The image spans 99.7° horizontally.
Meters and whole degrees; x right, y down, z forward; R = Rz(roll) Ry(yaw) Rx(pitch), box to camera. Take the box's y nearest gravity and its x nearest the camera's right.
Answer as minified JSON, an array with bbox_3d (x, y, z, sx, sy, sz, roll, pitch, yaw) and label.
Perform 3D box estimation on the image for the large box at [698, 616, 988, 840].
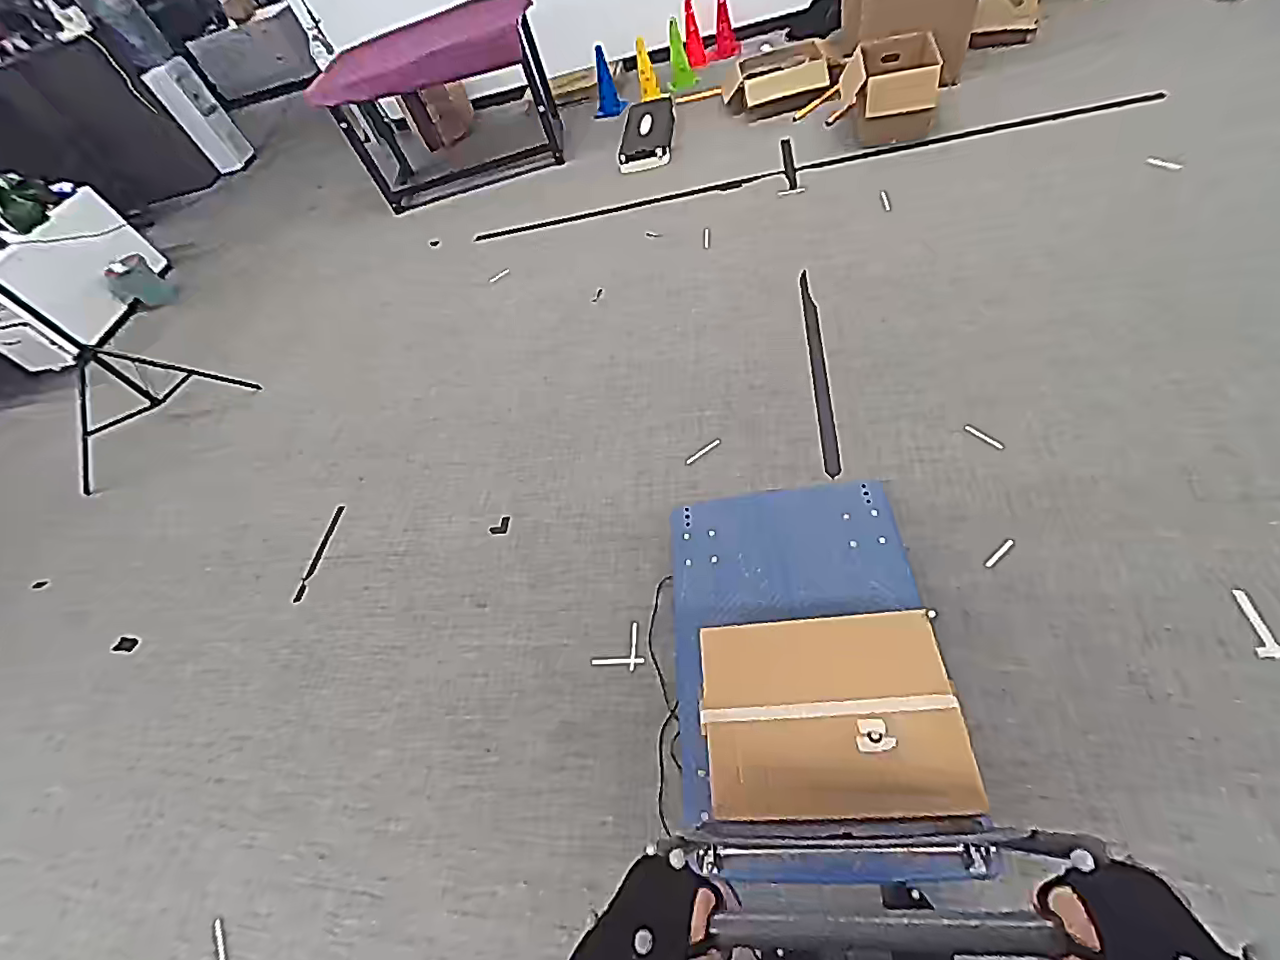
[{"bbox_3d":[0.337,0.475,1.009,0.408,0.320,0.320,-8,55,10],"label":"large box"}]
